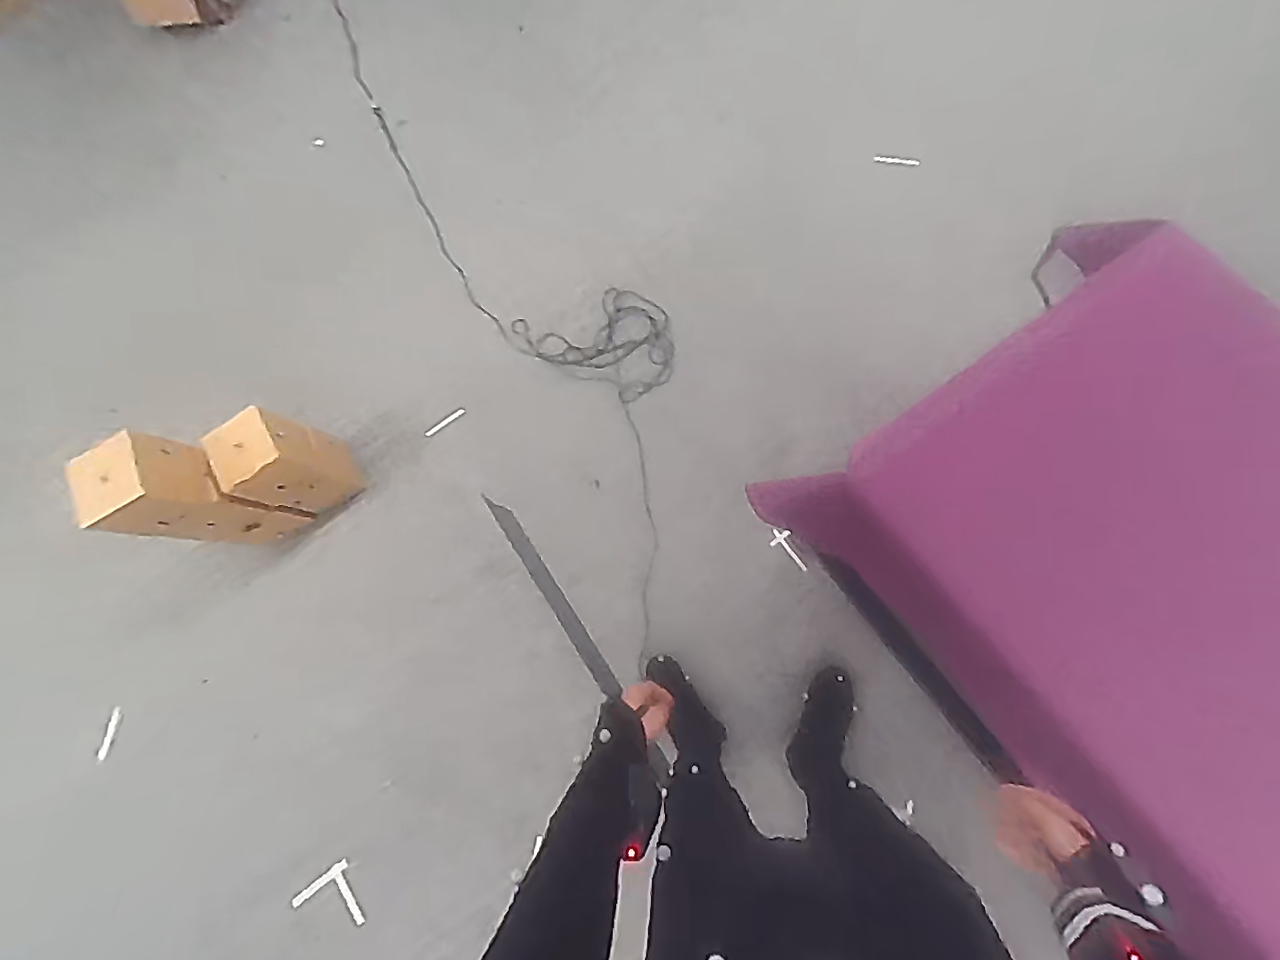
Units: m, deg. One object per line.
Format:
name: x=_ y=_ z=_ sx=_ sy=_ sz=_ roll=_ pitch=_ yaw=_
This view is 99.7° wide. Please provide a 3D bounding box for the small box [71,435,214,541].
small box: x=-1.157 y=0.027 z=1.267 sx=0.168 sy=0.176 sz=0.179 roll=-29 pitch=75 yaw=2
